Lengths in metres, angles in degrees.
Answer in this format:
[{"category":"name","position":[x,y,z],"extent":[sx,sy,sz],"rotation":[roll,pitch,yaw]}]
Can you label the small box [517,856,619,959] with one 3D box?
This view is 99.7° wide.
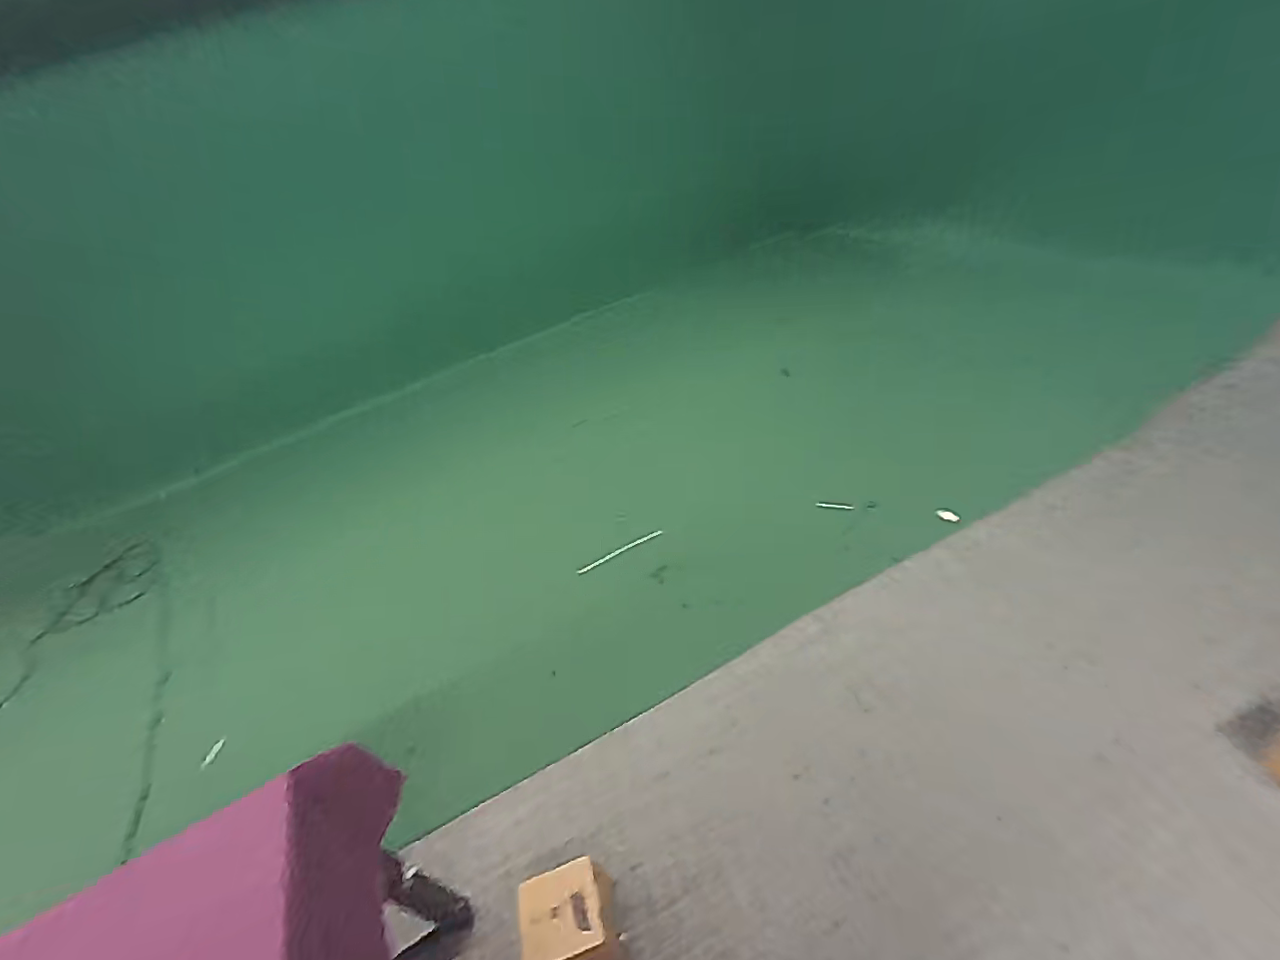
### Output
[{"category":"small box","position":[-0.156,0.984,1.205],"extent":[0.179,0.176,0.168],"rotation":[-22,37,-3]}]
